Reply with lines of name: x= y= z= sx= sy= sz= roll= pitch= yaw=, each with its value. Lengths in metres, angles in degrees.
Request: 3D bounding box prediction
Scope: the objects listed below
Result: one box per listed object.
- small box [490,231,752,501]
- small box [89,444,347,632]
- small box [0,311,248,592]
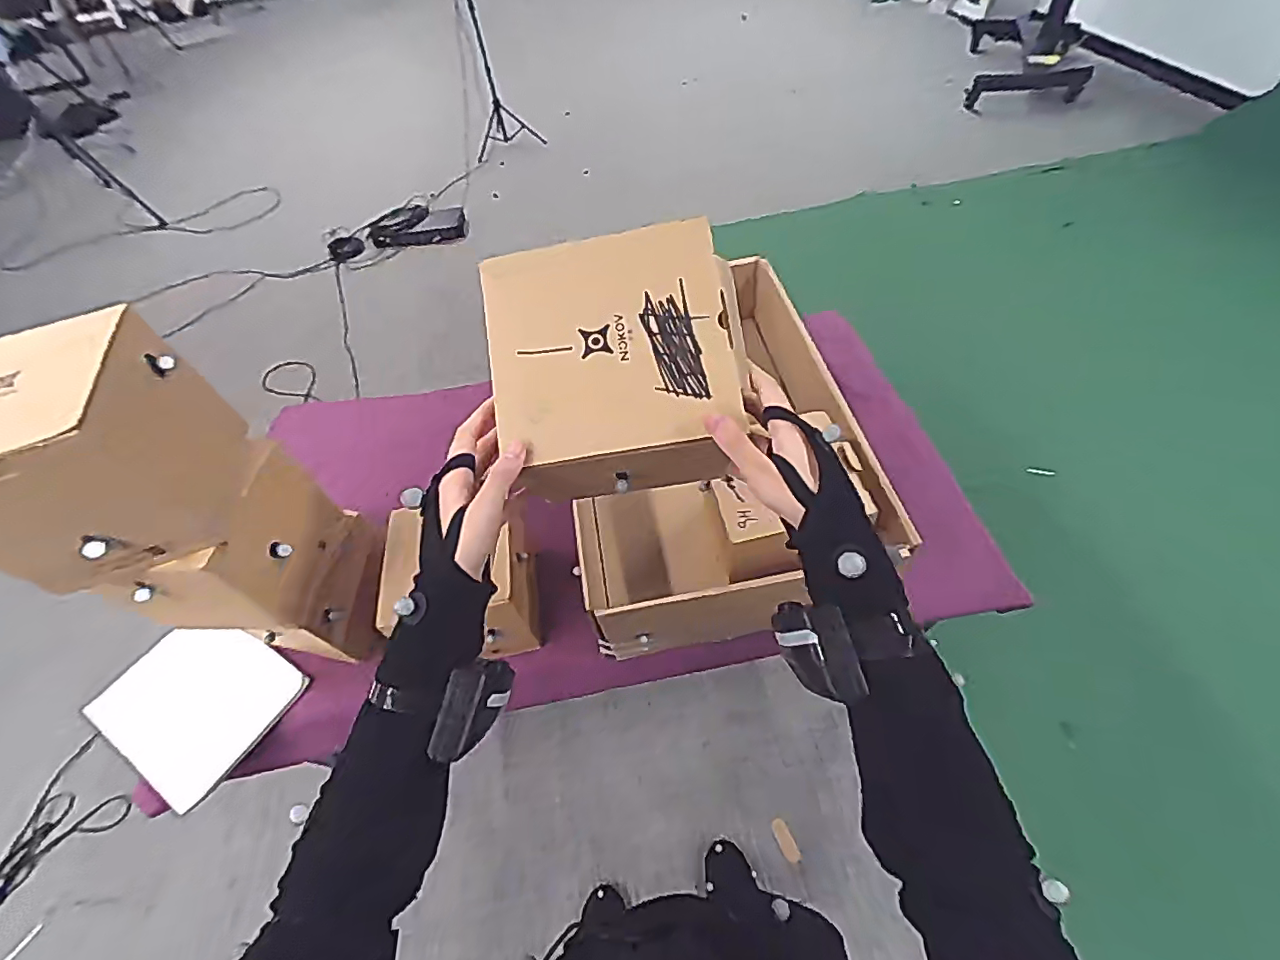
small box: x=-0.014 y=-0.082 z=0.470 sx=0.179 sy=0.176 sz=0.168 roll=-9 pitch=79 yaw=2
small box: x=-0.492 y=0.073 z=0.646 sx=0.179 sy=0.176 sz=0.168 roll=-1 pitch=54 yaw=6
small box: x=-0.514 y=-0.024 z=0.514 sx=0.168 sy=0.176 sz=0.179 roll=-20 pitch=54 yaw=-7
